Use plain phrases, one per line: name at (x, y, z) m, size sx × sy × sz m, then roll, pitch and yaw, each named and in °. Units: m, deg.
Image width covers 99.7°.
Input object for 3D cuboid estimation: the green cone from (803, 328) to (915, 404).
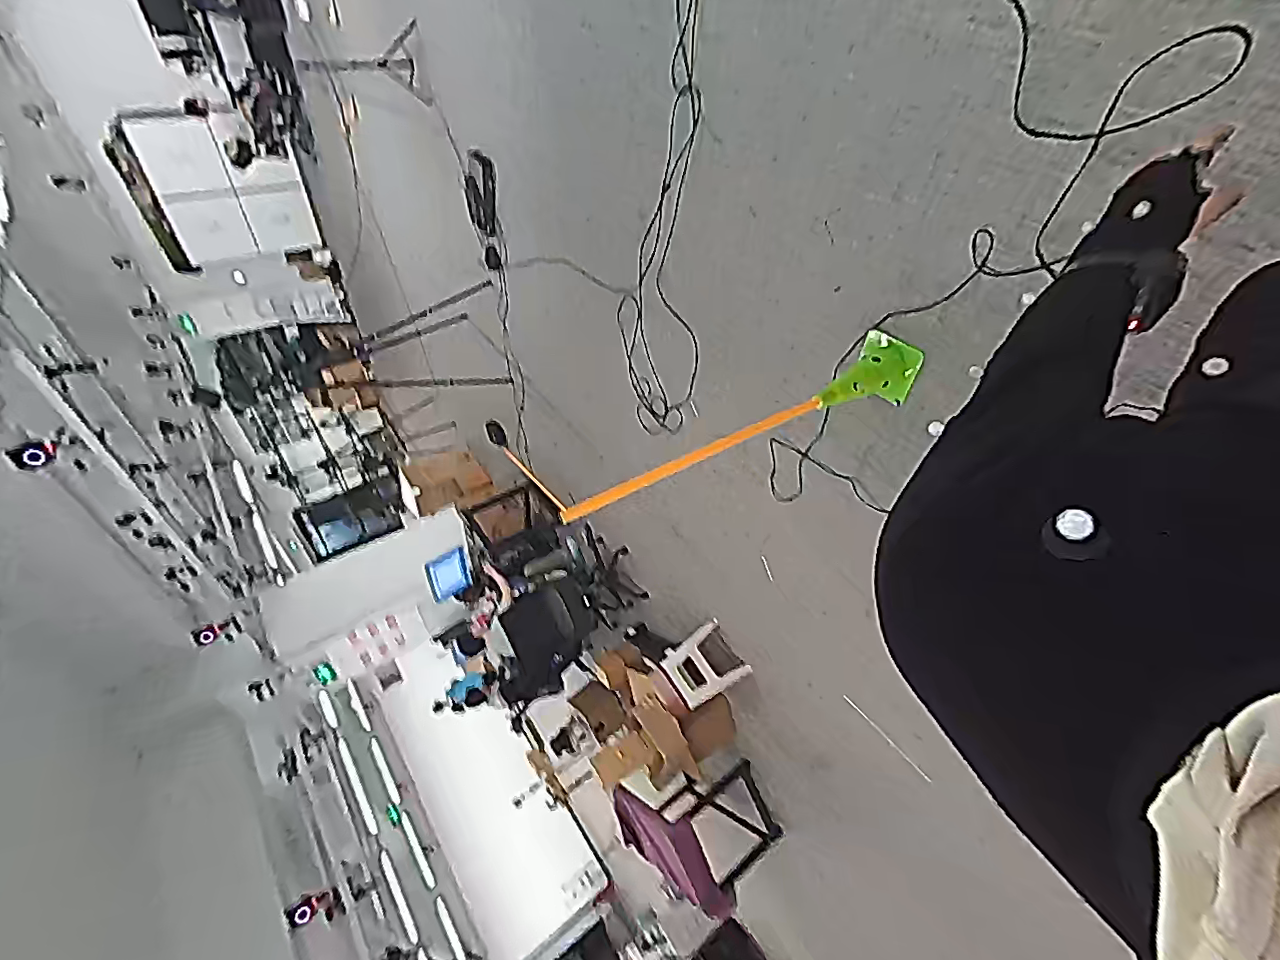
green cone at (0.650, -0.312, 1.694) m, size 0.202 × 0.368 × 0.200 m, roll 45°, pitch 146°, yaw 34°
